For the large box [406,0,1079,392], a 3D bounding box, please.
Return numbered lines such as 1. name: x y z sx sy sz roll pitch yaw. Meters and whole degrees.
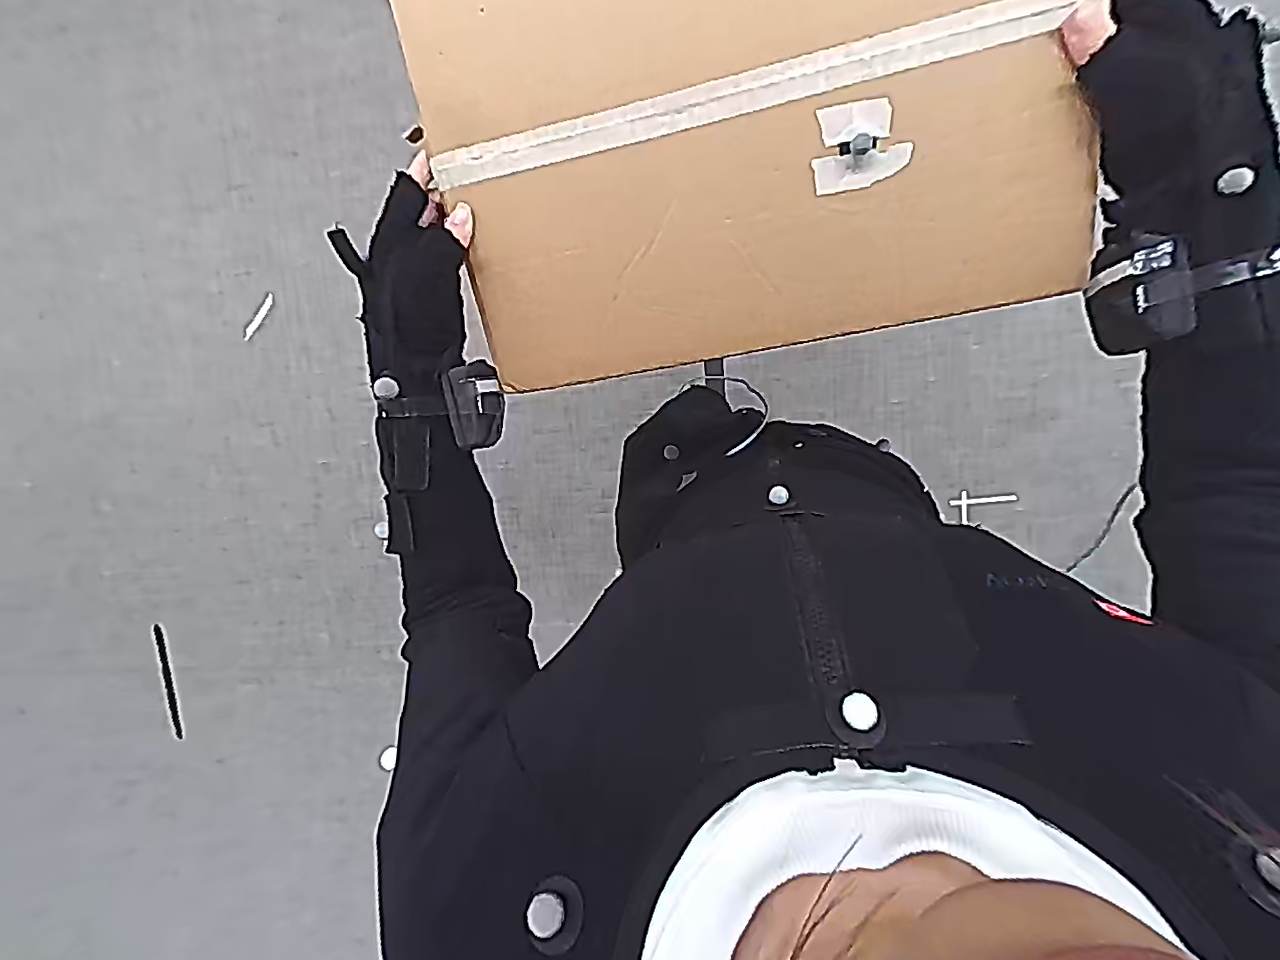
1. large box: 0.077 -0.293 0.488 0.408 0.320 0.320 -10 109 9
